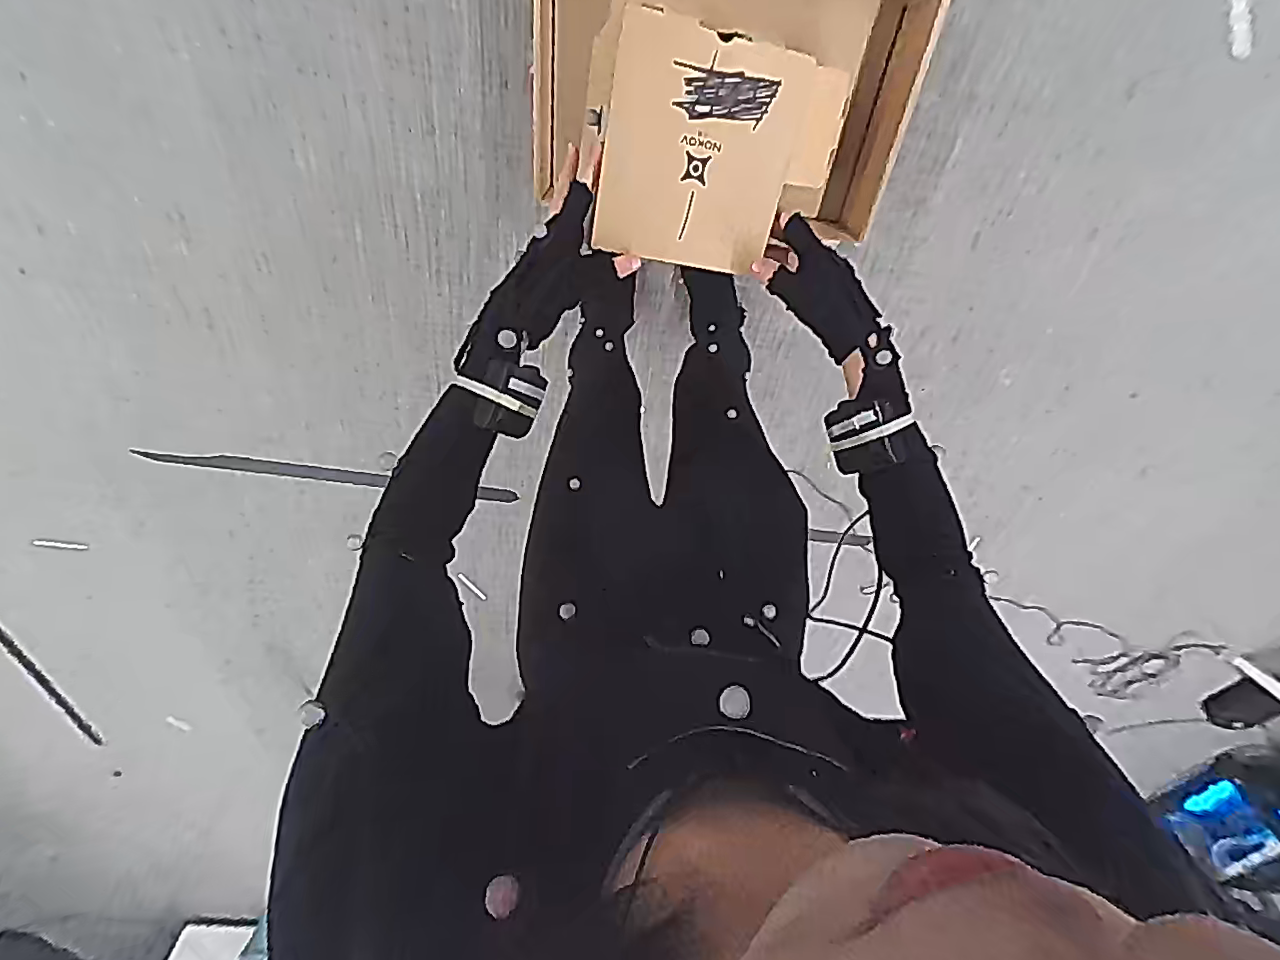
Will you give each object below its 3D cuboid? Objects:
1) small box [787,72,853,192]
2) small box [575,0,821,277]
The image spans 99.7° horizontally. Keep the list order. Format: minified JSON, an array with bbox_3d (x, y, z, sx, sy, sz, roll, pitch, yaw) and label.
[{"bbox_3d":[0.239,-0.619,0.948,0.179,0.176,0.168,6,125,-3],"label":"small box"},{"bbox_3d":[0.035,-0.311,0.515,0.168,0.176,0.179,4,119,-16],"label":"small box"}]
